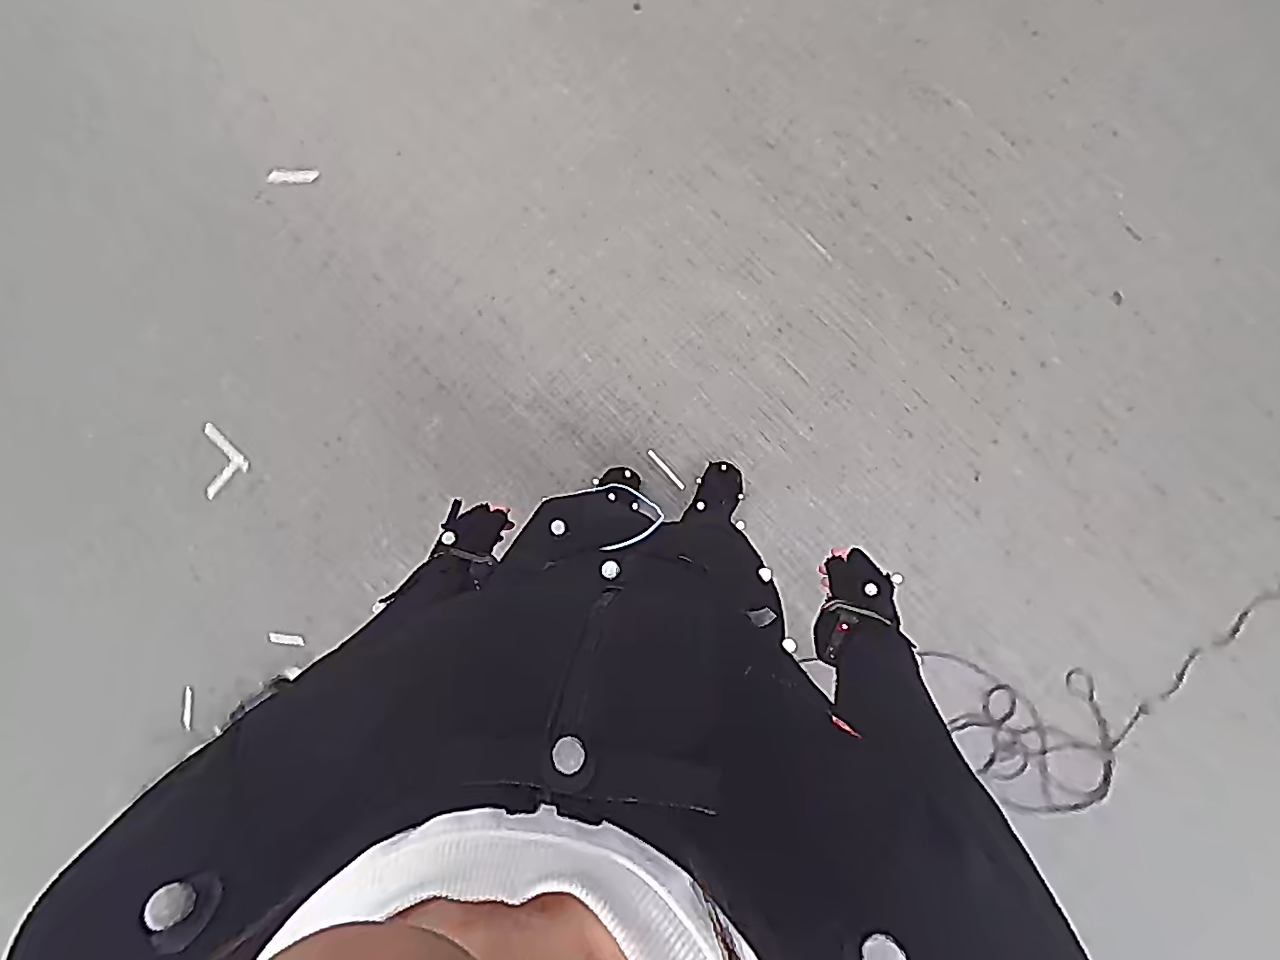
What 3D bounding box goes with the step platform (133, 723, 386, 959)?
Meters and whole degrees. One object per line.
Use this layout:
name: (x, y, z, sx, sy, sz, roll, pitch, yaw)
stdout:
step platform: (-1.067, 1.049, 1.531, 0.286, 0.204, 0.684, -44, 87, 6)
